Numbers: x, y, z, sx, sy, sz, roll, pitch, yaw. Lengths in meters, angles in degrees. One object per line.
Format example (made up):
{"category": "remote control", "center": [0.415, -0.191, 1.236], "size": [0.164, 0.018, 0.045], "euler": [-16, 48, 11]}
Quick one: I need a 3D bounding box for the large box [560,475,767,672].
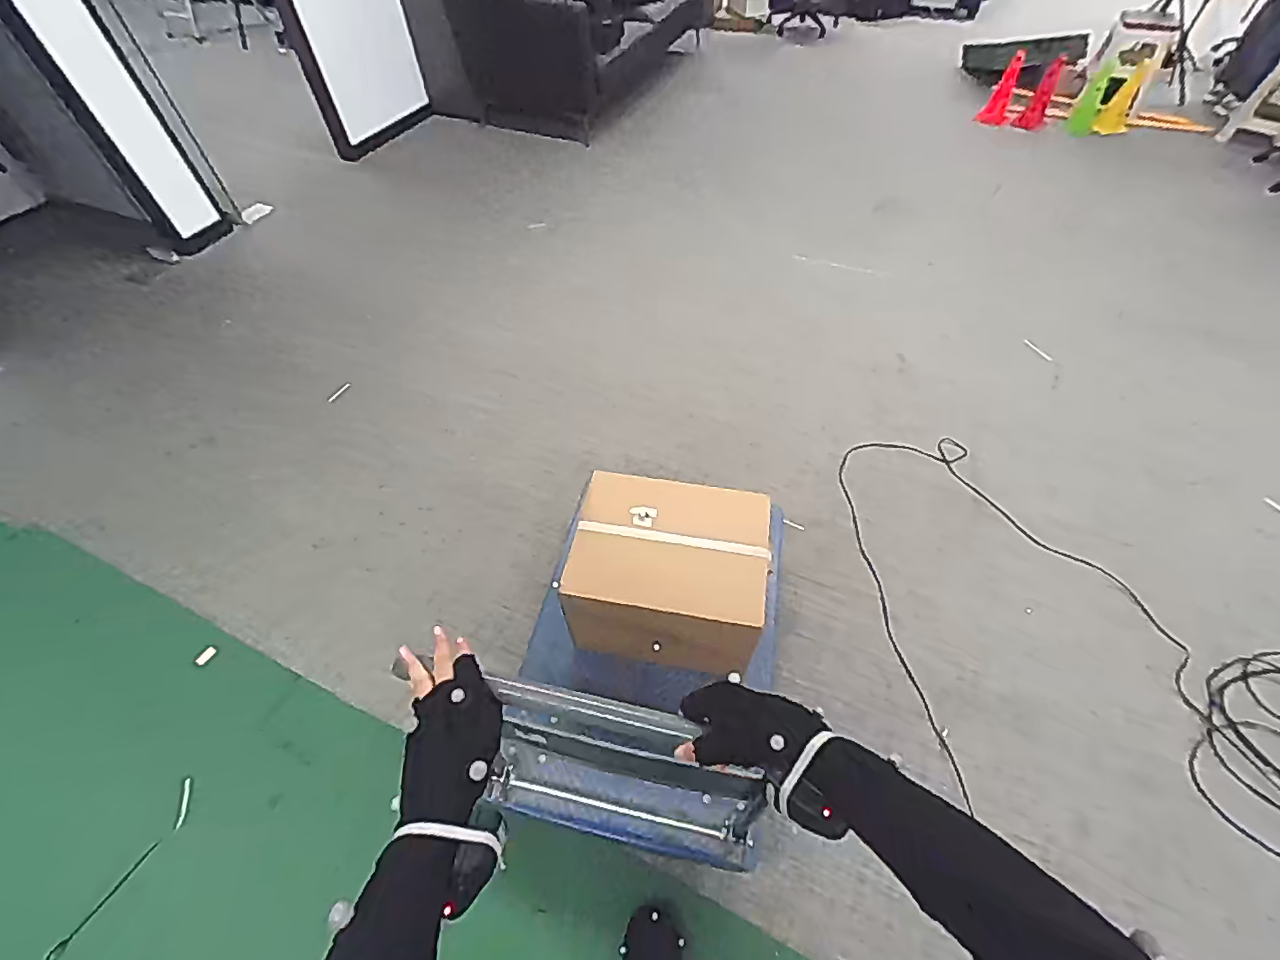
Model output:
{"category": "large box", "center": [0.068, 0.221, 1.252], "size": [0.408, 0.320, 0.320], "euler": [8, 53, 8]}
